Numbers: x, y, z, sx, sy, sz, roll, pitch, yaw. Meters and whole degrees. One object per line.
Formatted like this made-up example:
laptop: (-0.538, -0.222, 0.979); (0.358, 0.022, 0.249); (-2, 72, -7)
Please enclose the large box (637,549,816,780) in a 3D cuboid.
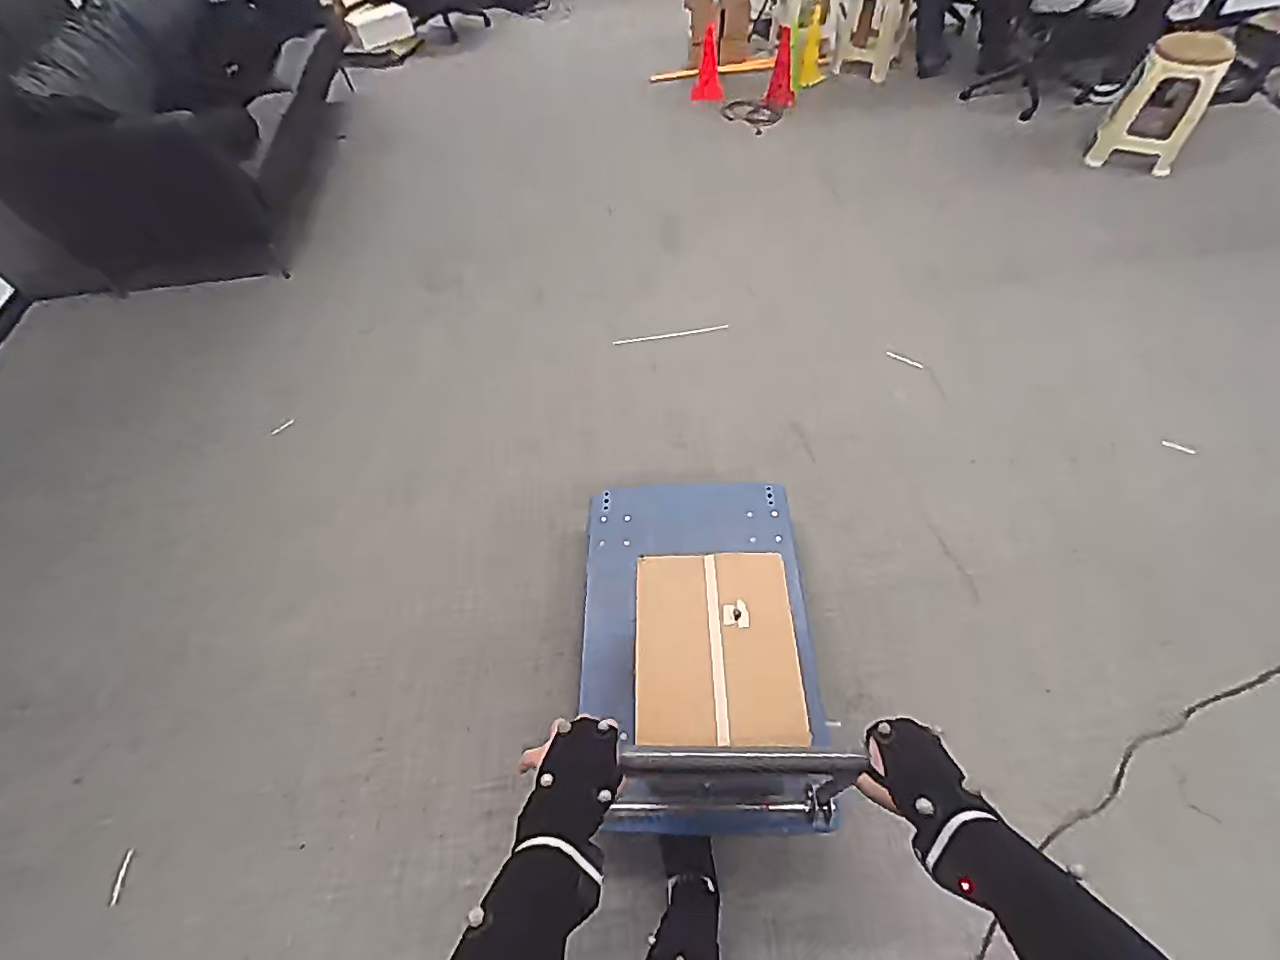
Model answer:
large box: (0.162, 0.403, 1.169); (0.320, 0.320, 0.408); (-2, 55, 3)
